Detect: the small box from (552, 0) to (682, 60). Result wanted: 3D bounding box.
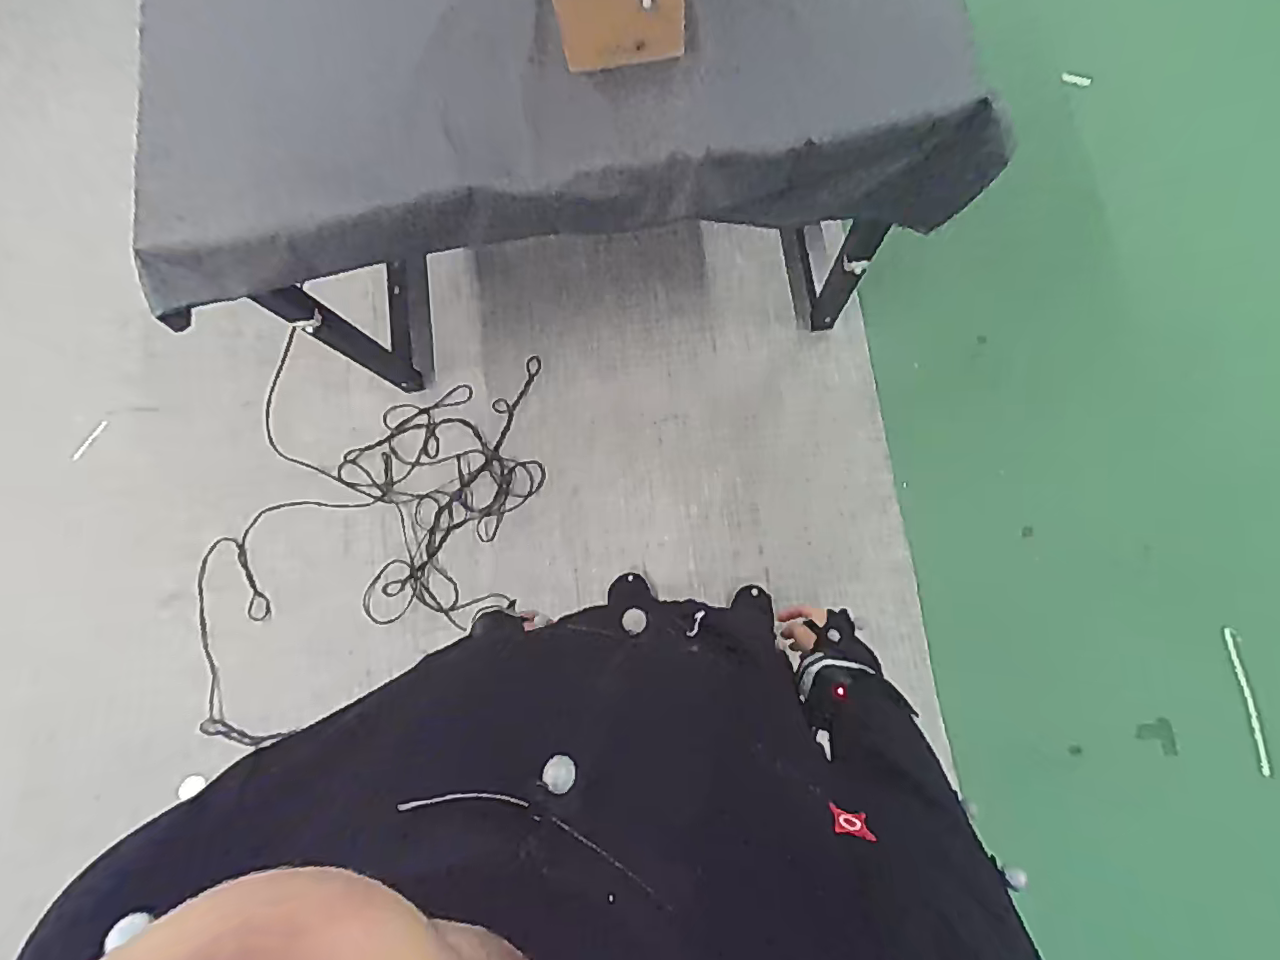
[{"bbox_3d":[-0.034,-0.682,0.694,0.168,0.176,0.179,-5,79,3],"label":"small box"}]
